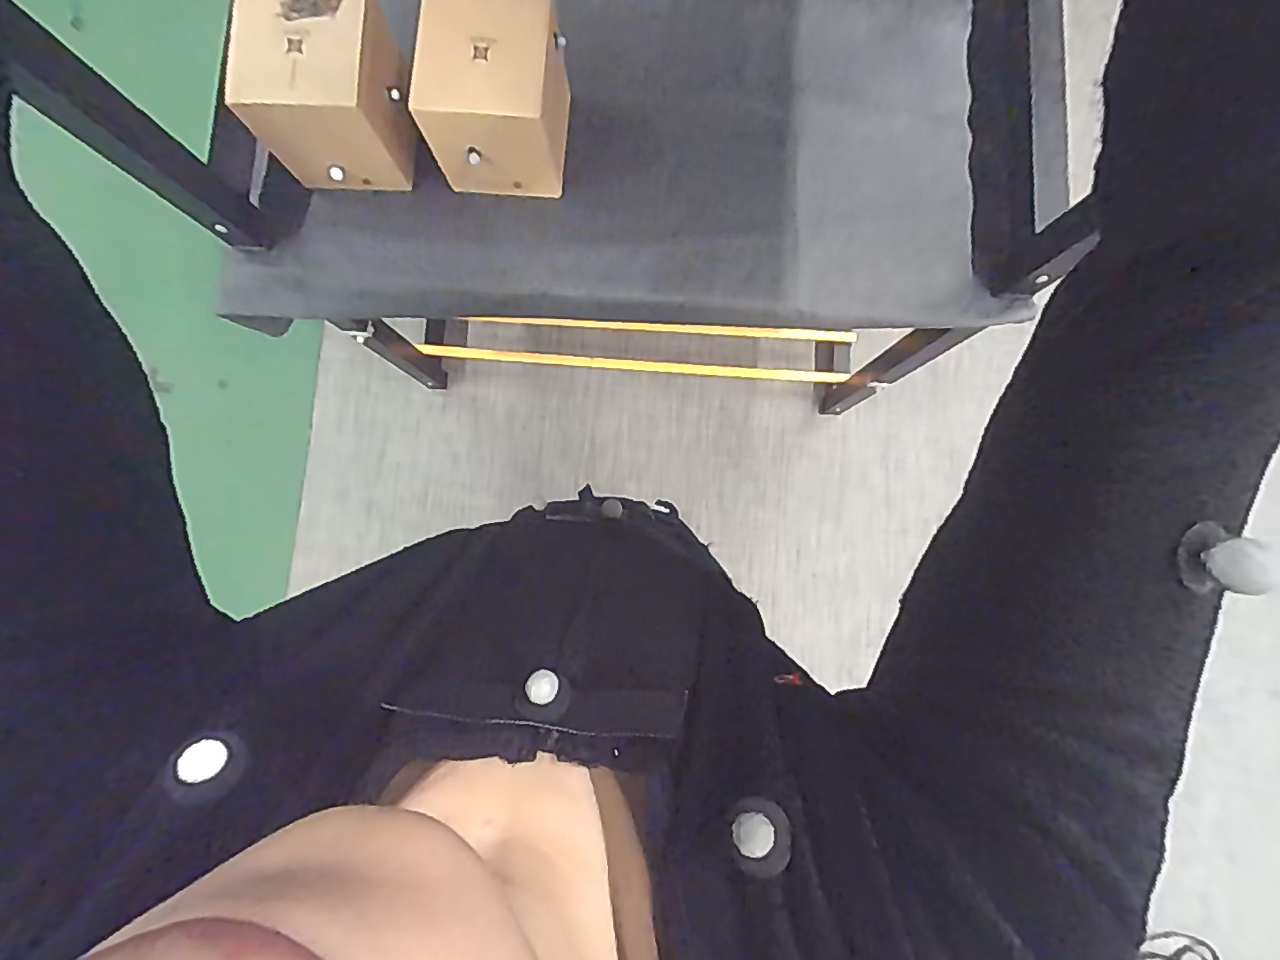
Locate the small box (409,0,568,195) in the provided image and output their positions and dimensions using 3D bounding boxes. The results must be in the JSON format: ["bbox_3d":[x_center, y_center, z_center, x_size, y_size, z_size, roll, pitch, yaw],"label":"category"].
[{"bbox_3d":[-0.195,-0.525,0.747,0.168,0.176,0.179,4,83,0],"label":"small box"}]

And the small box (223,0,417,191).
[{"bbox_3d":[-0.422,-0.535,0.745,0.168,0.176,0.179,2,84,0],"label":"small box"}]
